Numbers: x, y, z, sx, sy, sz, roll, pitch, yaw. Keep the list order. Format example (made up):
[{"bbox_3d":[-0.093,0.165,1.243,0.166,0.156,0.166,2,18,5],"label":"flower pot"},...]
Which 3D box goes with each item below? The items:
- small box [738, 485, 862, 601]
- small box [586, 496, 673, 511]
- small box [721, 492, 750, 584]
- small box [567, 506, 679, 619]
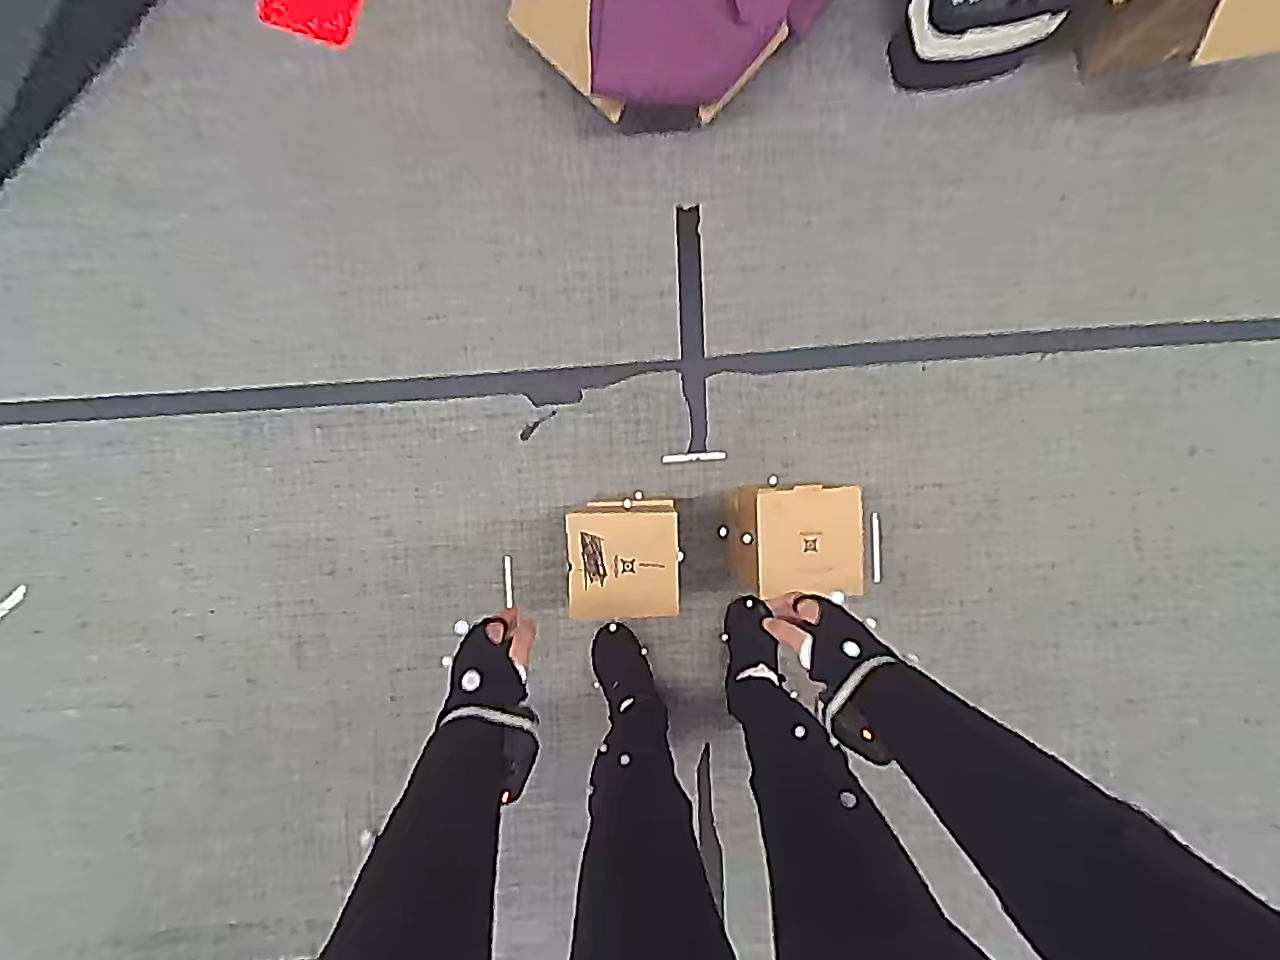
[{"bbox_3d":[0.265,0.099,0.927,0.168,0.176,0.179,-2,93,0],"label":"small box"},{"bbox_3d":[-0.018,0.126,1.087,0.168,0.176,0.179,-1,92,1],"label":"small box"},{"bbox_3d":[0.269,0.106,1.091,0.179,0.176,0.168,-4,92,0],"label":"small box"},{"bbox_3d":[-0.027,0.134,0.922,0.179,0.176,0.168,0,92,-1],"label":"small box"}]
